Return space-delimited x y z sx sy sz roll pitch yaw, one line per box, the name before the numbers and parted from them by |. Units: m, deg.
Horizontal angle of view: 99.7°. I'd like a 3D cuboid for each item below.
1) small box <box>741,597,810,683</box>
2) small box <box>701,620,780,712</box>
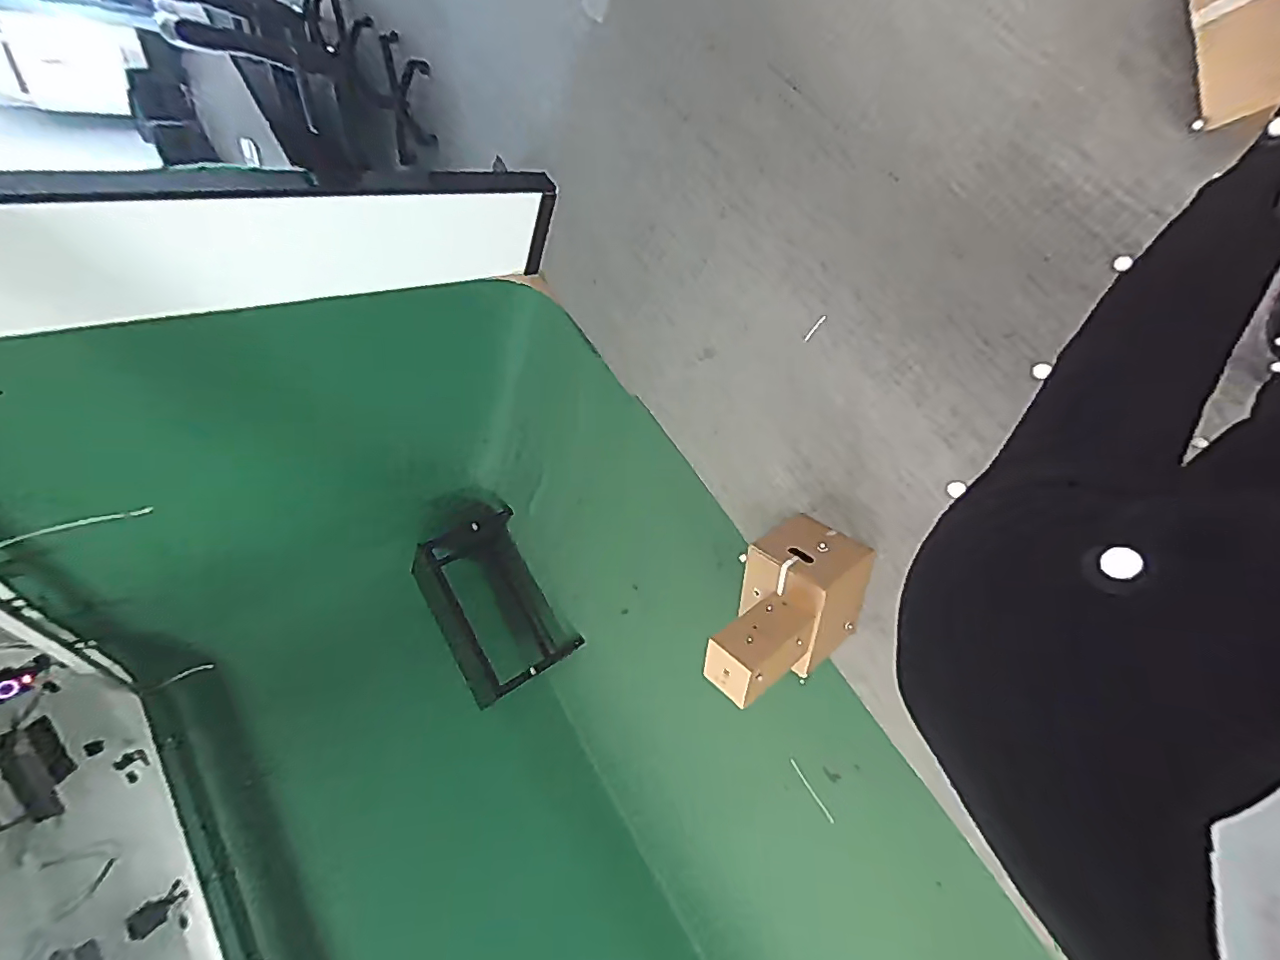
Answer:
small box | 0.437 0.519 1.781 0.168 0.176 0.179 31 131 40
small box | 0.314 0.572 1.685 0.168 0.176 0.179 33 133 39
